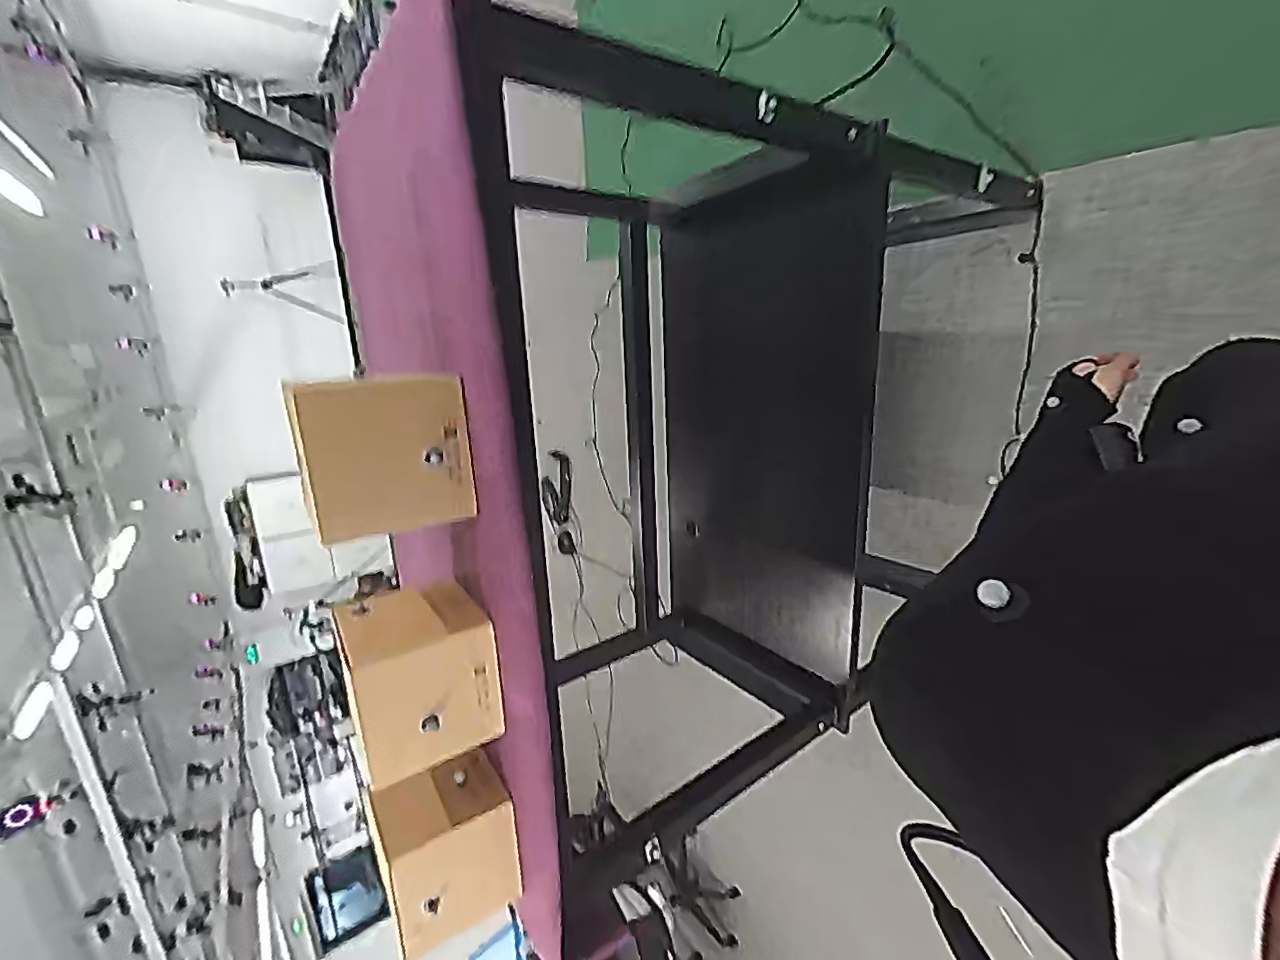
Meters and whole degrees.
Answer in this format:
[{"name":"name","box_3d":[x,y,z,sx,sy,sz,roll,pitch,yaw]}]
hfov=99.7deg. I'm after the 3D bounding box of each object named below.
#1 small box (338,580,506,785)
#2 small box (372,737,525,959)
[{"name":"small box","box_3d":[-0.285,0.252,0.724,0.179,0.176,0.168,19,116,54]},{"name":"small box","box_3d":[-0.279,0.525,0.798,0.168,0.176,0.179,18,114,53]}]
